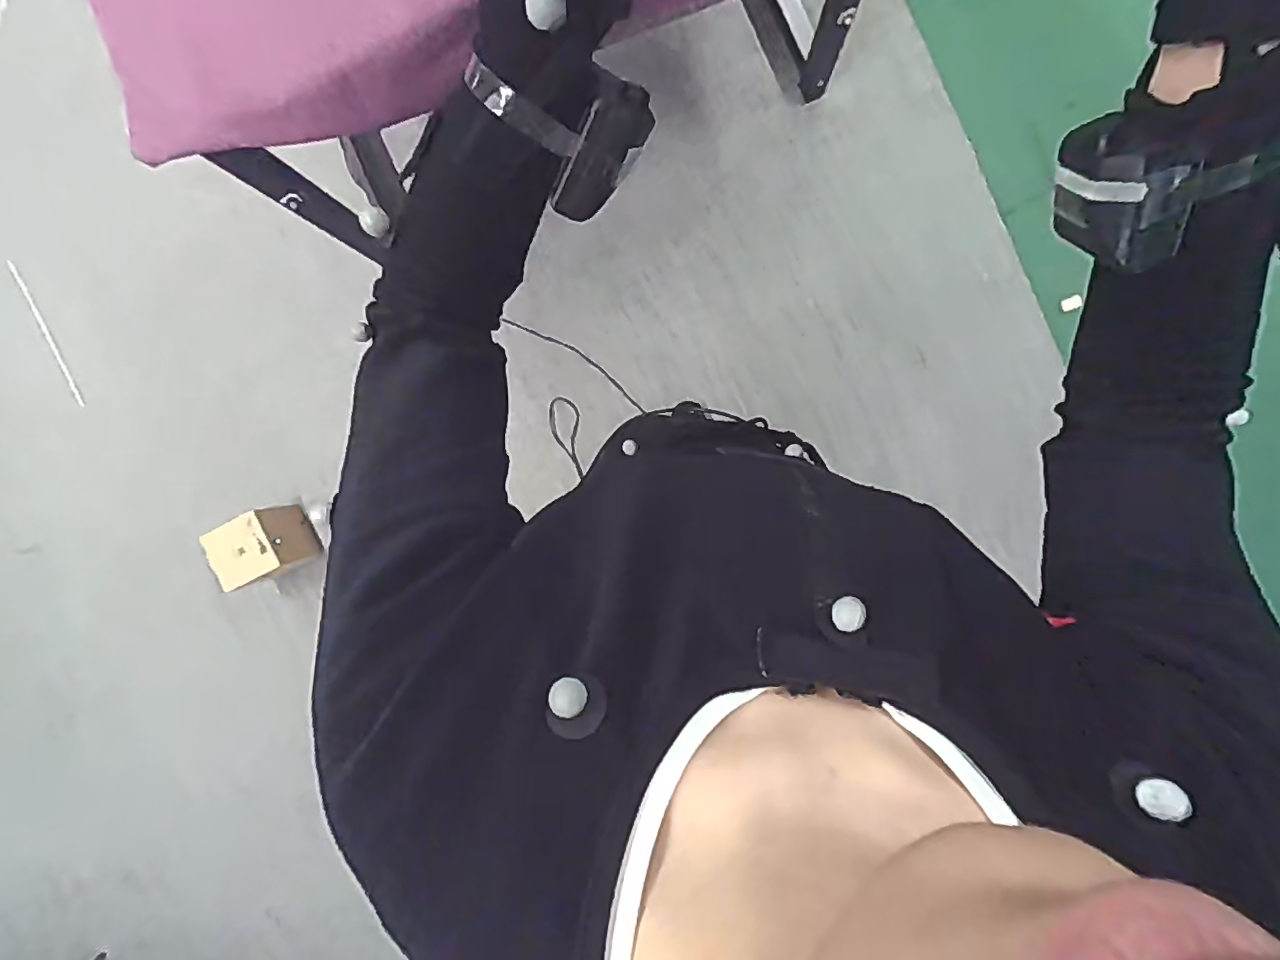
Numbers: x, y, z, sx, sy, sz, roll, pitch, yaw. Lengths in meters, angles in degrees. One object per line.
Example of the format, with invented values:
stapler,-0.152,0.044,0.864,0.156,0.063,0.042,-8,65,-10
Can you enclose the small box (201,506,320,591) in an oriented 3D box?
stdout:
small box,-1.030,0.181,1.481,0.179,0.176,0.168,-25,90,6
